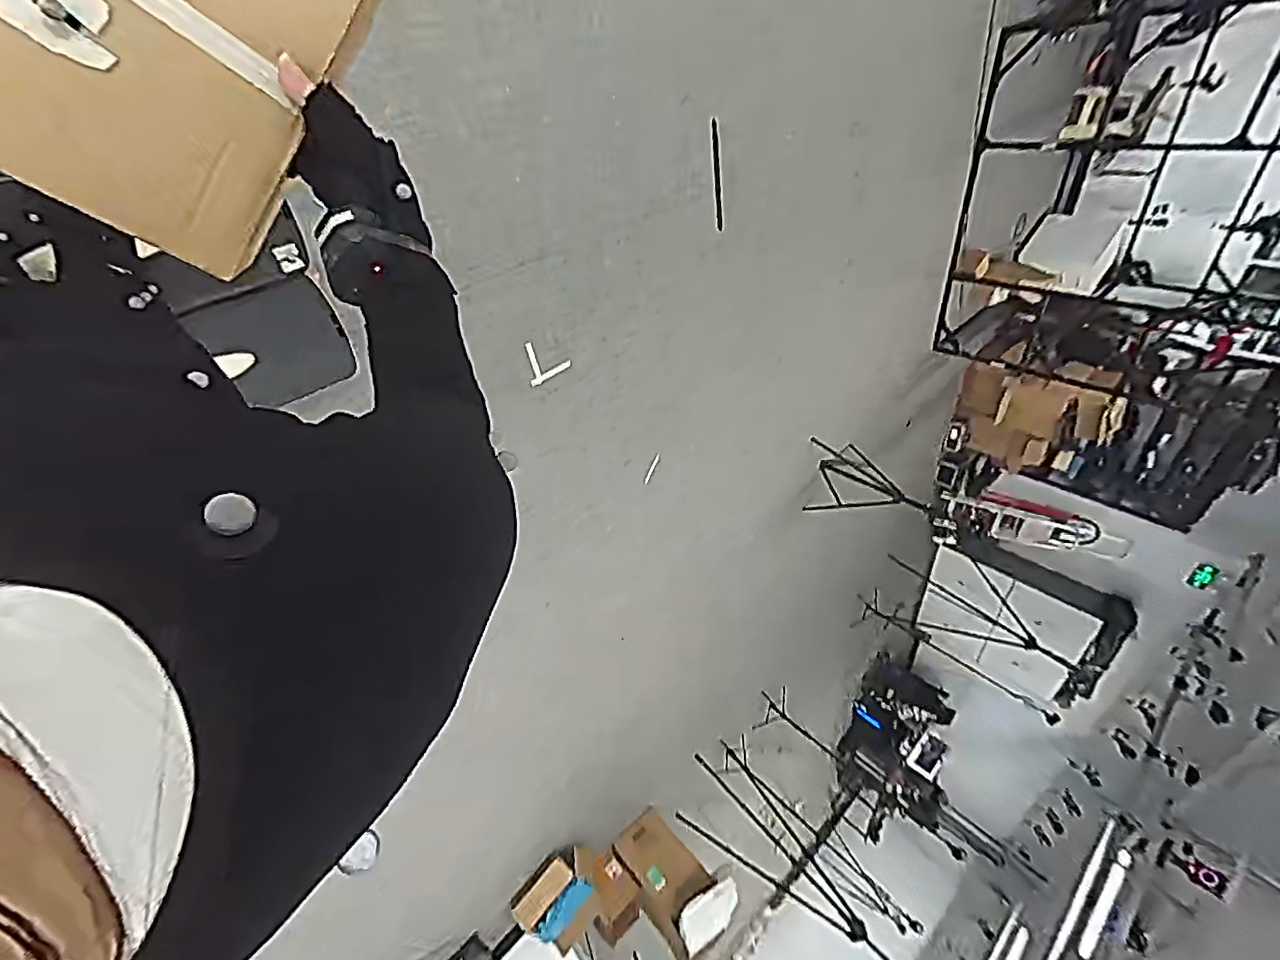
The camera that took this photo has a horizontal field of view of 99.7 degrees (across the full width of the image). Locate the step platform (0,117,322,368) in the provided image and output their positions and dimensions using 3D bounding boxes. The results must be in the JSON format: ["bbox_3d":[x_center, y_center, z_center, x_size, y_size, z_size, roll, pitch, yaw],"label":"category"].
[{"bbox_3d":[-1.012,-0.469,1.042,0.684,0.204,0.286,-36,135,-27],"label":"step platform"}]
